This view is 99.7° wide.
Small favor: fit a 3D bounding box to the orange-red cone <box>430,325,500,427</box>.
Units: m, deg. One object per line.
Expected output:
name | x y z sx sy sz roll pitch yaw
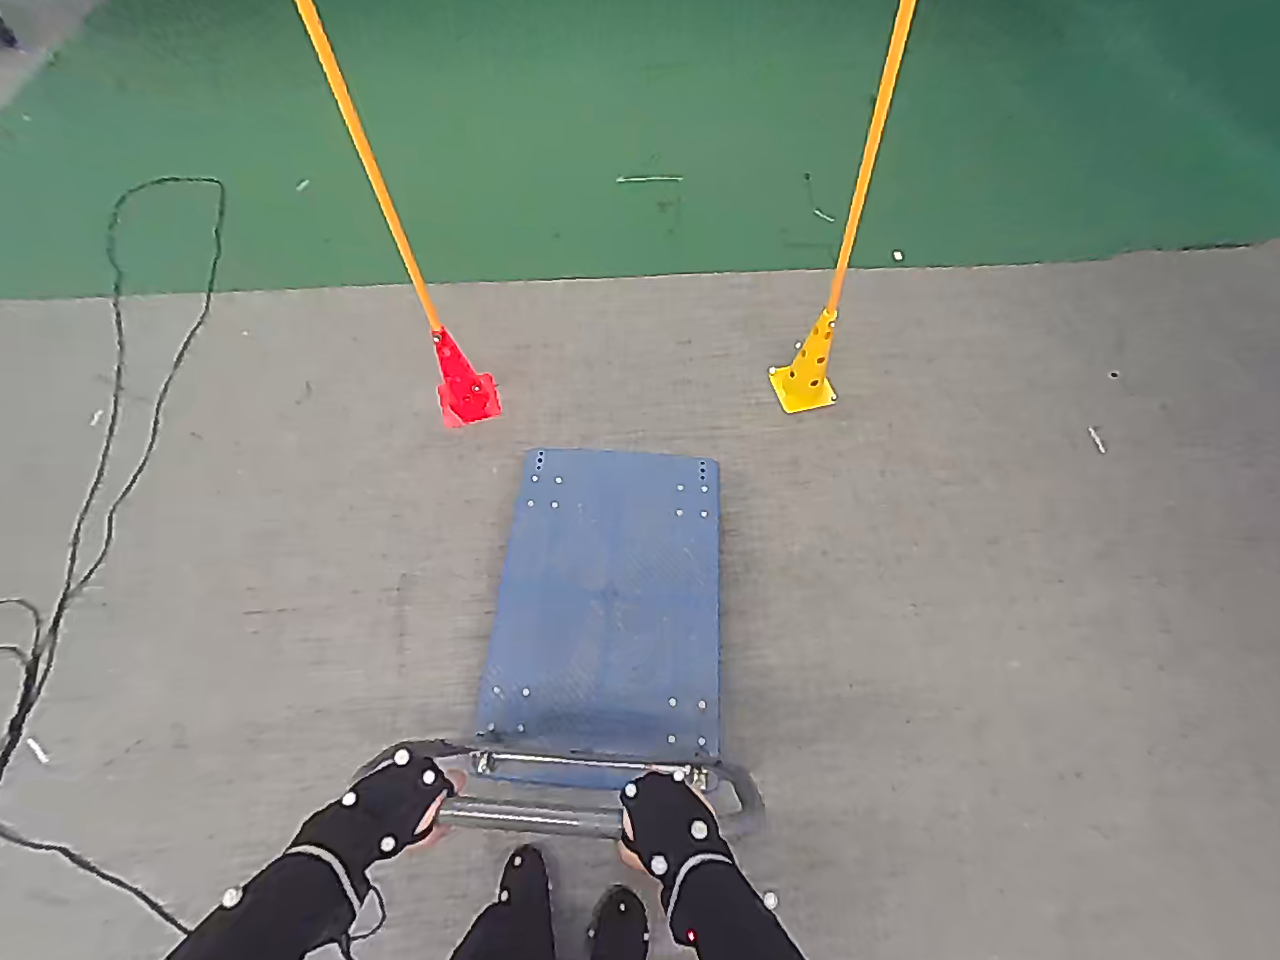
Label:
orange-red cone | -0.607 -0.362 1.761 0.199 0.360 0.198 -16 62 -7
